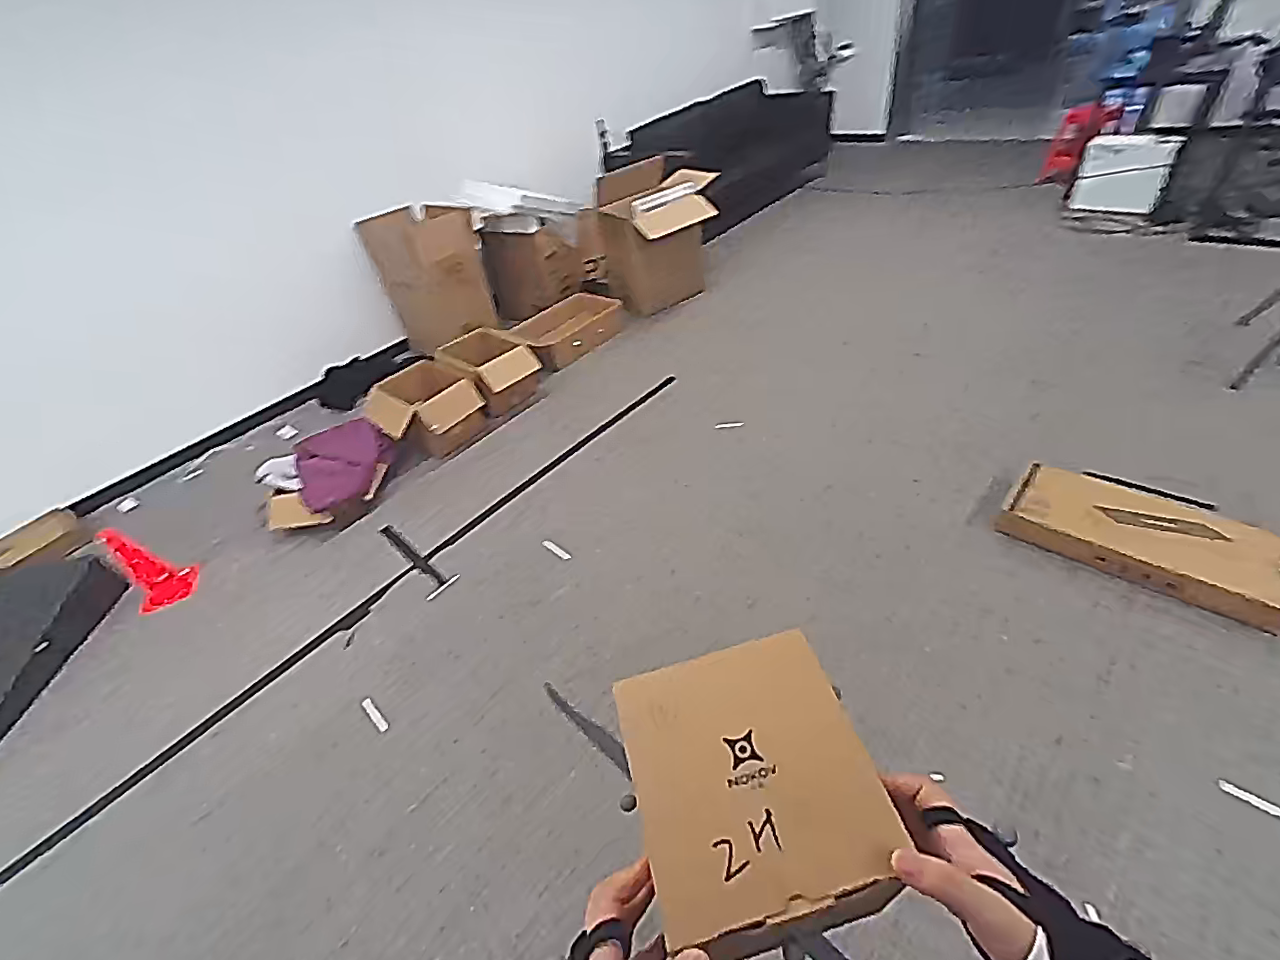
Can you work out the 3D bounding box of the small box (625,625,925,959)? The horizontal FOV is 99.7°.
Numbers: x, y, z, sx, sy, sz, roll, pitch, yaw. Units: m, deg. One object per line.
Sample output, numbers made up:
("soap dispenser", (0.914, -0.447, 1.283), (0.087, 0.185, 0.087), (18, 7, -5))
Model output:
("small box", (0.092, 0.254, 0.444), (0.168, 0.176, 0.179), (-15, 44, -3))
